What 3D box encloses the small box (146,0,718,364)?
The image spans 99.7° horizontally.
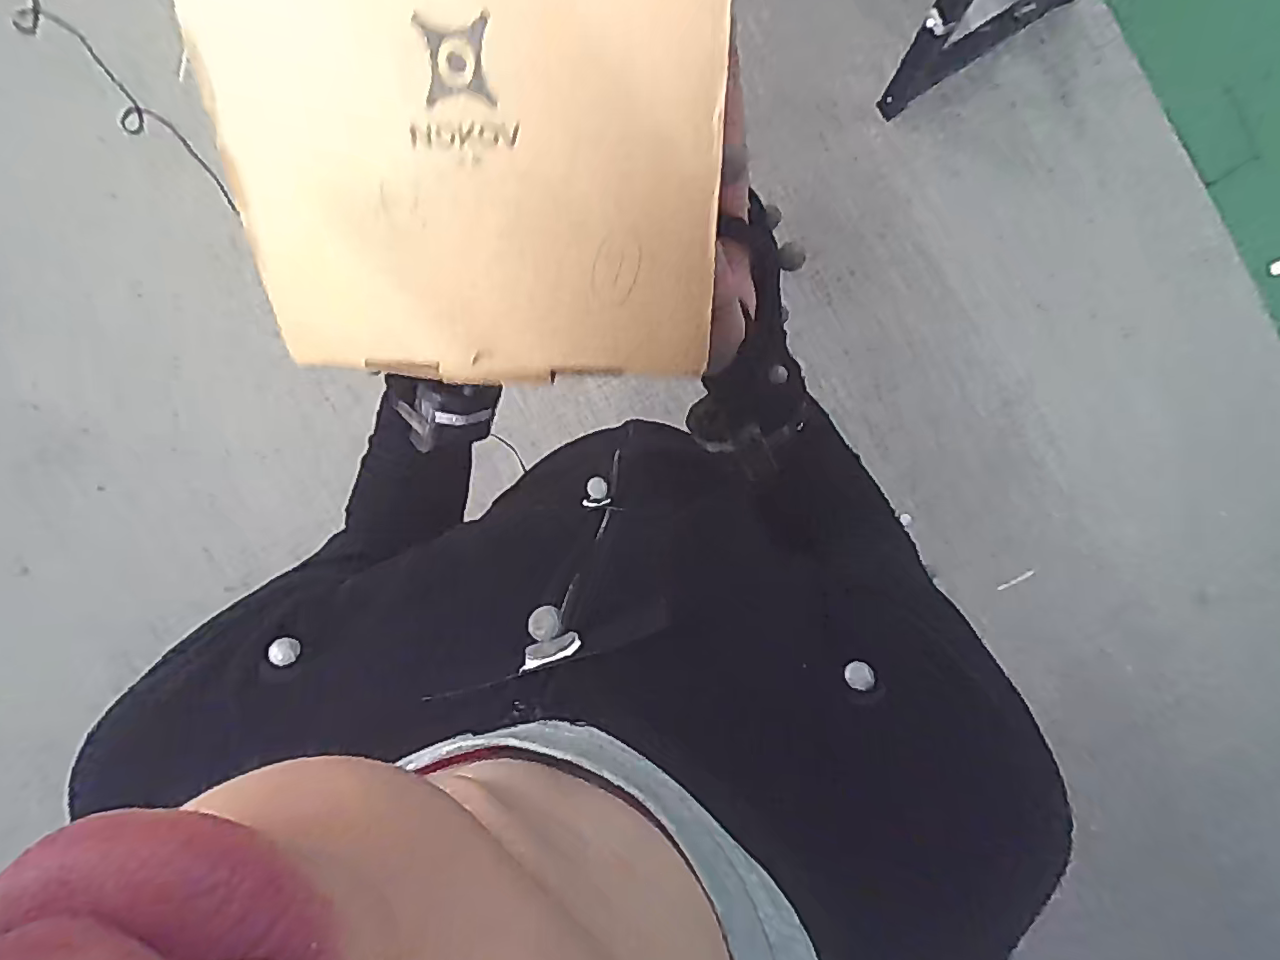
[{"bbox_3d":[-0.055,-0.160,0.230,0.168,0.176,0.179,1,120,2],"label":"small box"}]
